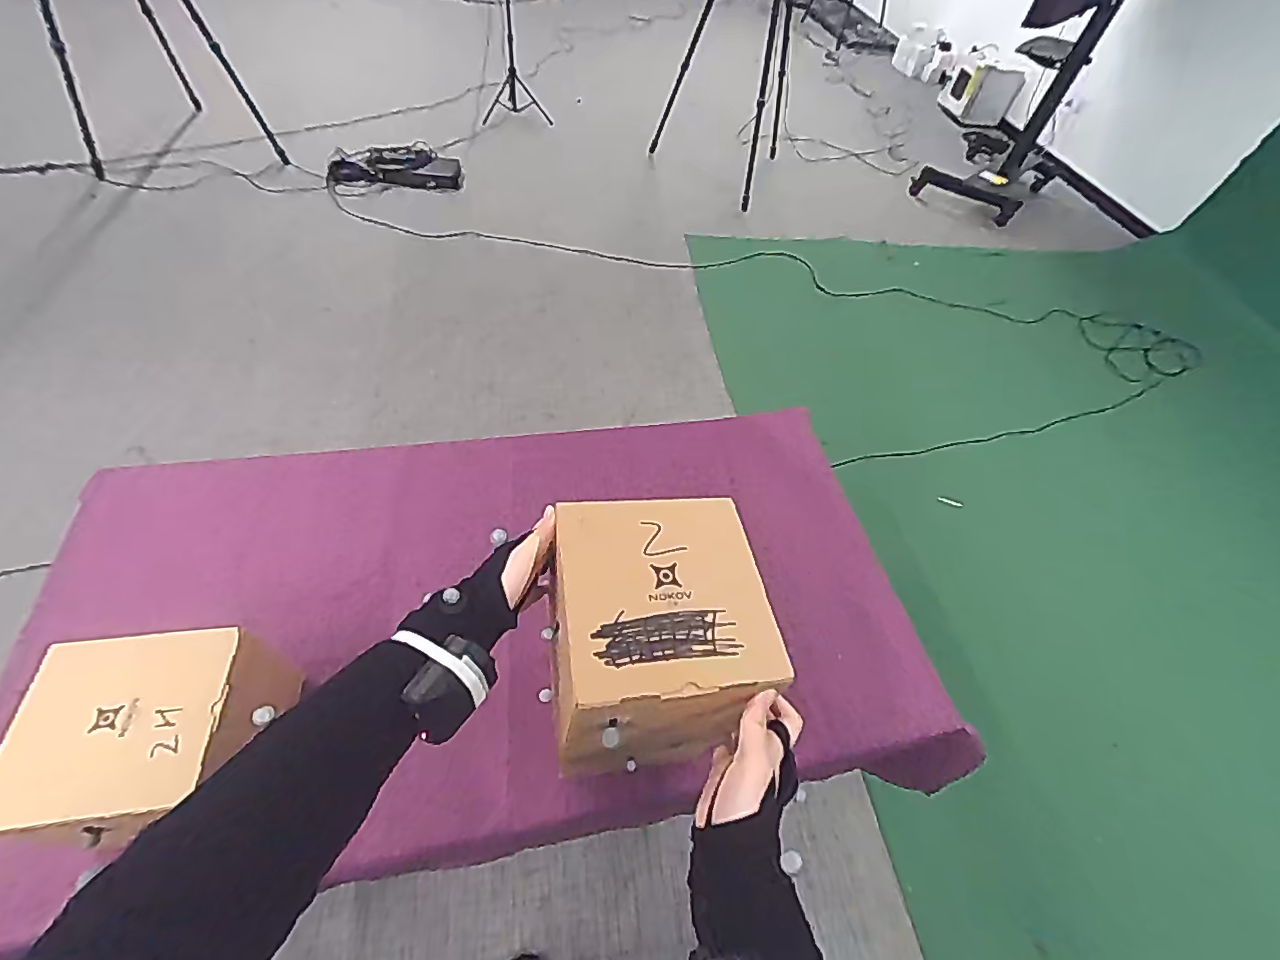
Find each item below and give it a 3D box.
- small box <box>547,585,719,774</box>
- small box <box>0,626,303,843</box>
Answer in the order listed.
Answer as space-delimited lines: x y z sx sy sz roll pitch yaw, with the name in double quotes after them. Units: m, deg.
-0.020 0.244 0.658 0.179 0.176 0.168 -4 53 -9 "small box"
-0.498 0.272 0.573 0.179 0.176 0.168 -3 53 -10 "small box"
